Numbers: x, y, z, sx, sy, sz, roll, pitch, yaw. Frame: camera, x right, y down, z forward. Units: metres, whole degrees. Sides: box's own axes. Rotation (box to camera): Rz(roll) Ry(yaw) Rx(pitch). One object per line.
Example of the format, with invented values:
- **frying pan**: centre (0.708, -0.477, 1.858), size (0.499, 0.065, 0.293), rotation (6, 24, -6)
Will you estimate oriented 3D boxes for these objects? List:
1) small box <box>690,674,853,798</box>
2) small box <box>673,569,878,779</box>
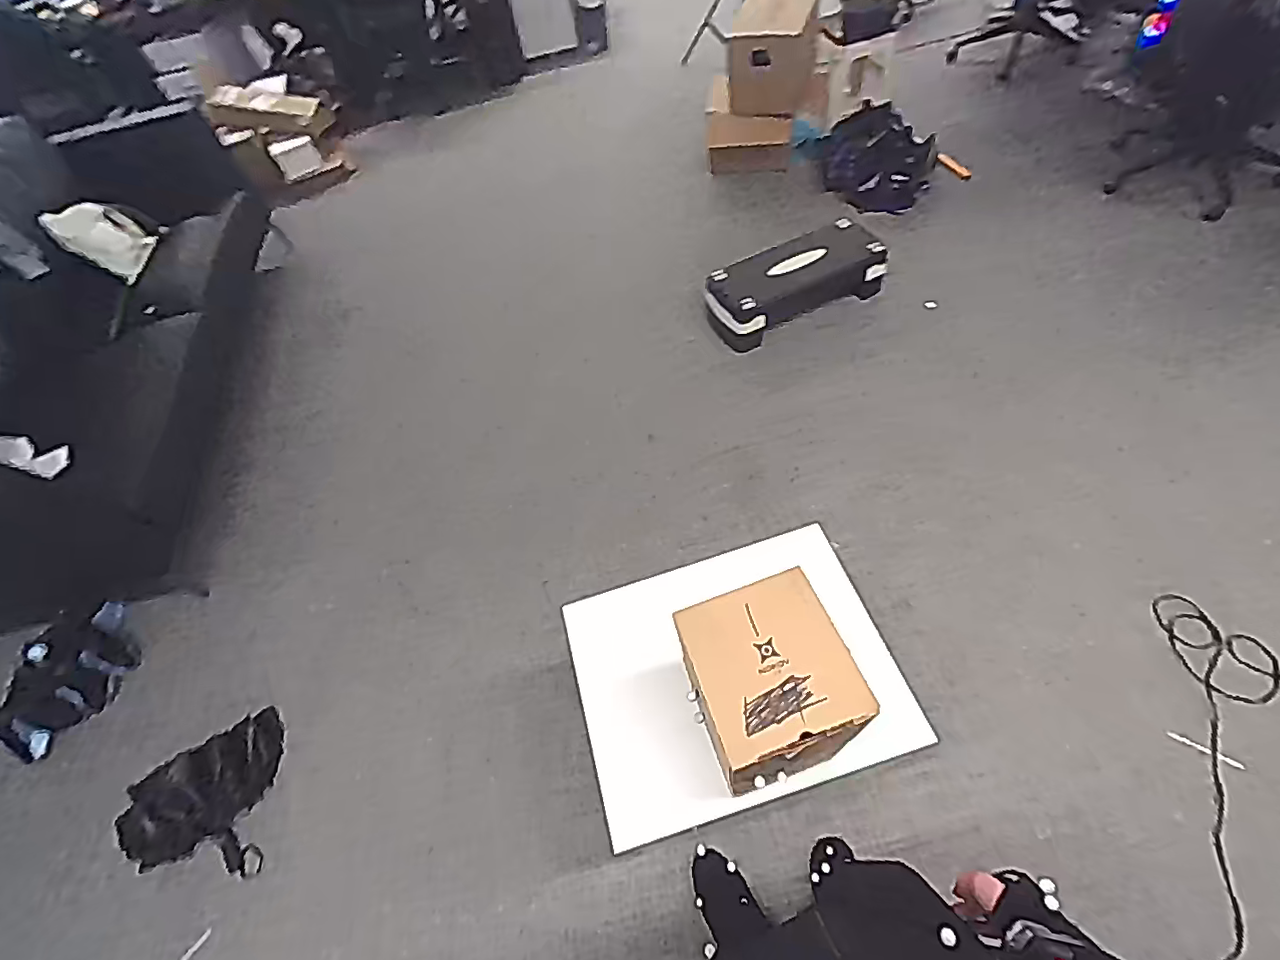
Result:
- **small box**: centre (0.177, 0.336, 0.787), size (0.168, 0.176, 0.179), rotation (-21, 55, -4)
- **small box**: centre (0.153, 0.241, 0.653), size (0.168, 0.176, 0.179), rotation (-20, 53, -4)
